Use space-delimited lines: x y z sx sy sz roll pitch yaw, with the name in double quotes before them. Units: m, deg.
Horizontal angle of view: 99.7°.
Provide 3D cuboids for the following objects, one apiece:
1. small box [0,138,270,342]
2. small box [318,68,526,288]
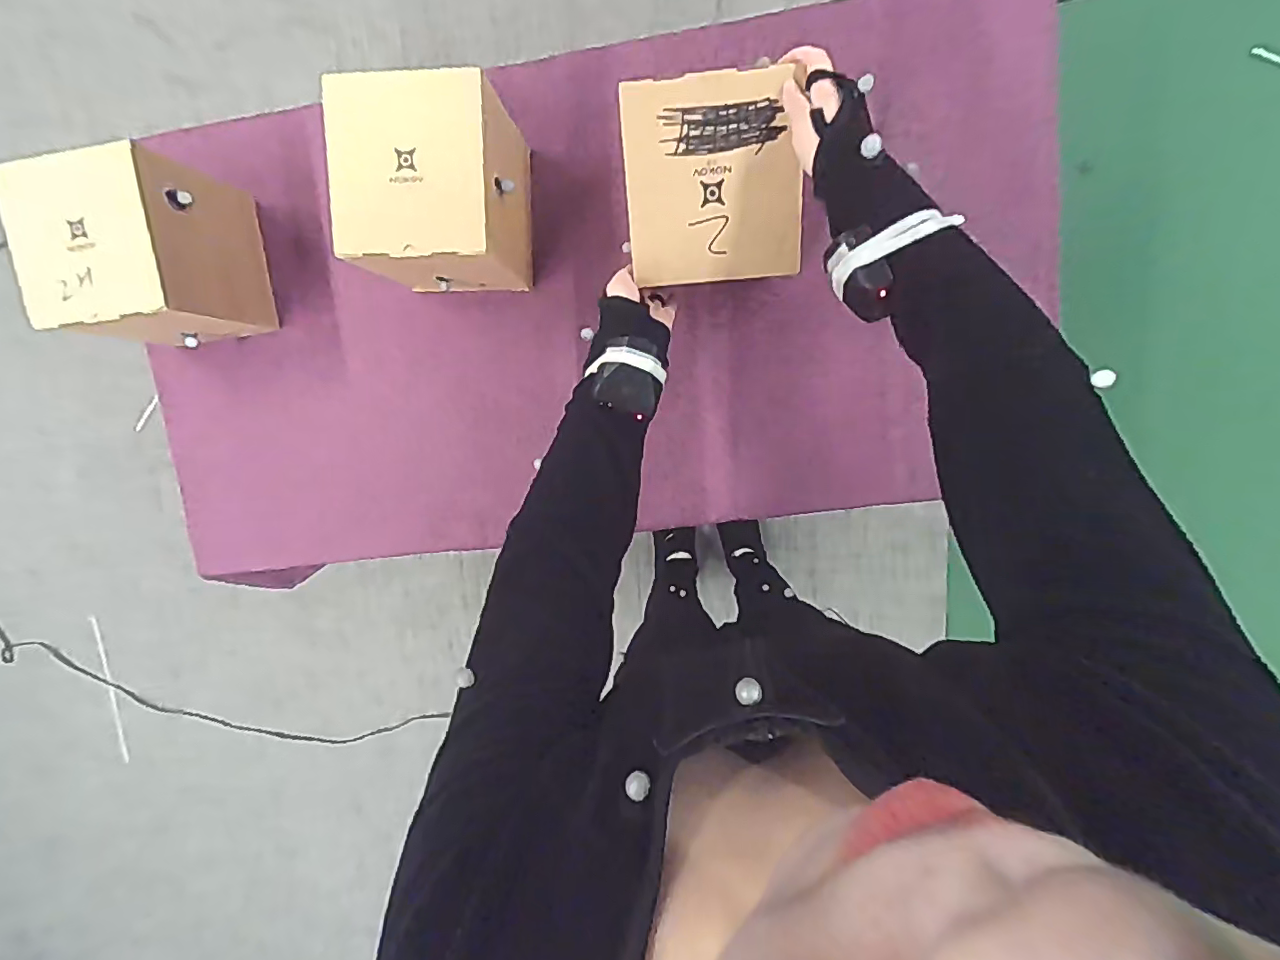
"small box" -0.597 -0.274 0.658 0.168 0.176 0.179 -6 98 6
"small box" -0.235 -0.330 0.623 0.168 0.176 0.179 1 99 5
